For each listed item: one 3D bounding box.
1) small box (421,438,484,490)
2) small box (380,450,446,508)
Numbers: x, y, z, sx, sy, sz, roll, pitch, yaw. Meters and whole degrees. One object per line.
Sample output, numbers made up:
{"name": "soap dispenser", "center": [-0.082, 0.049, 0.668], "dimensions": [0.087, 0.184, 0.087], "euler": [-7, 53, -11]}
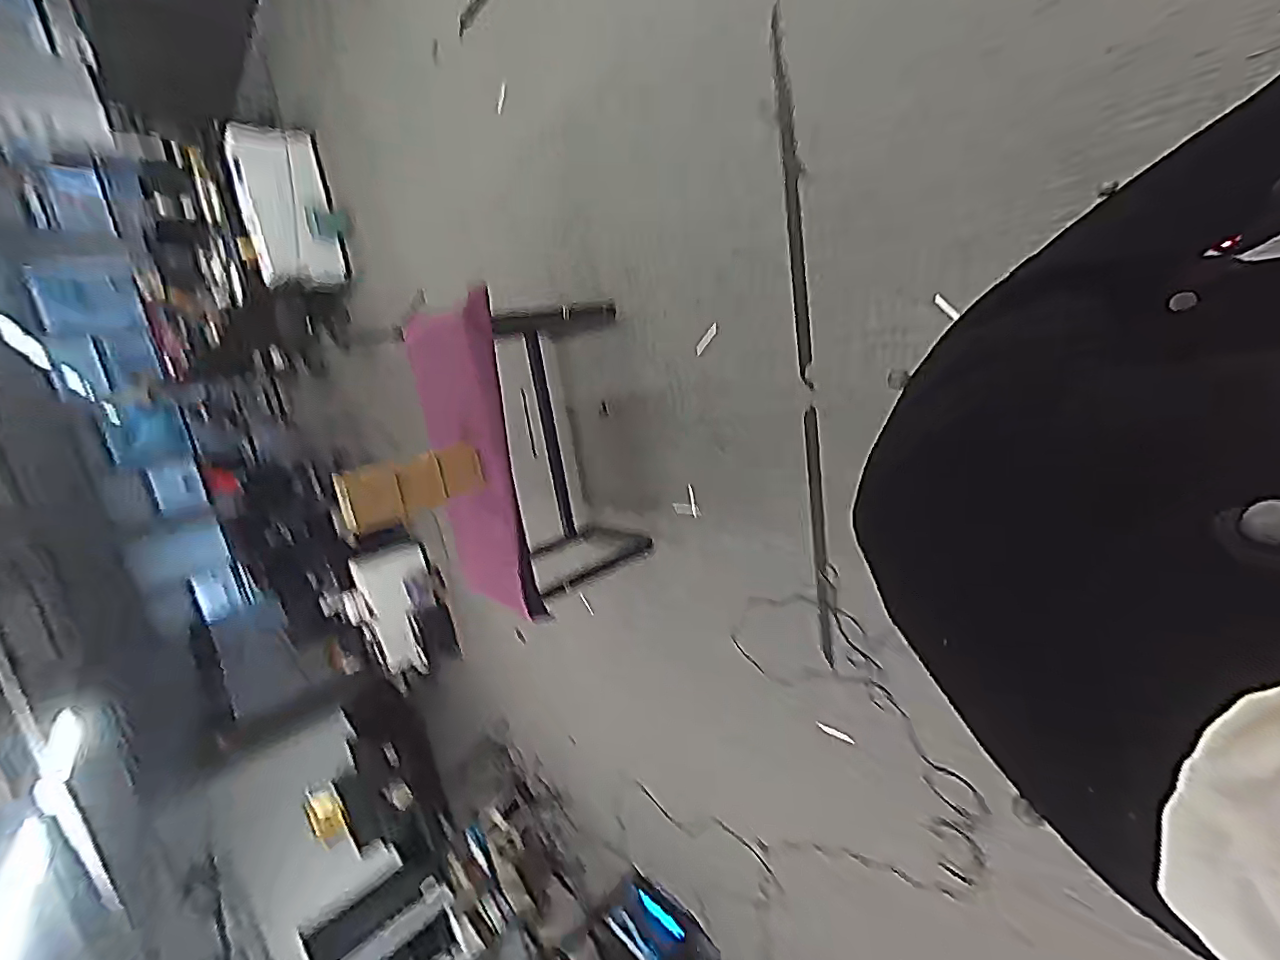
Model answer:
{"name": "small box", "center": [-0.747, -0.070, 2.156], "dimensions": [0.168, 0.176, 0.179], "euler": [3, 107, 50]}
{"name": "small box", "center": [-0.857, -0.008, 2.051], "dimensions": [0.168, 0.176, 0.179], "euler": [3, 107, 49]}
